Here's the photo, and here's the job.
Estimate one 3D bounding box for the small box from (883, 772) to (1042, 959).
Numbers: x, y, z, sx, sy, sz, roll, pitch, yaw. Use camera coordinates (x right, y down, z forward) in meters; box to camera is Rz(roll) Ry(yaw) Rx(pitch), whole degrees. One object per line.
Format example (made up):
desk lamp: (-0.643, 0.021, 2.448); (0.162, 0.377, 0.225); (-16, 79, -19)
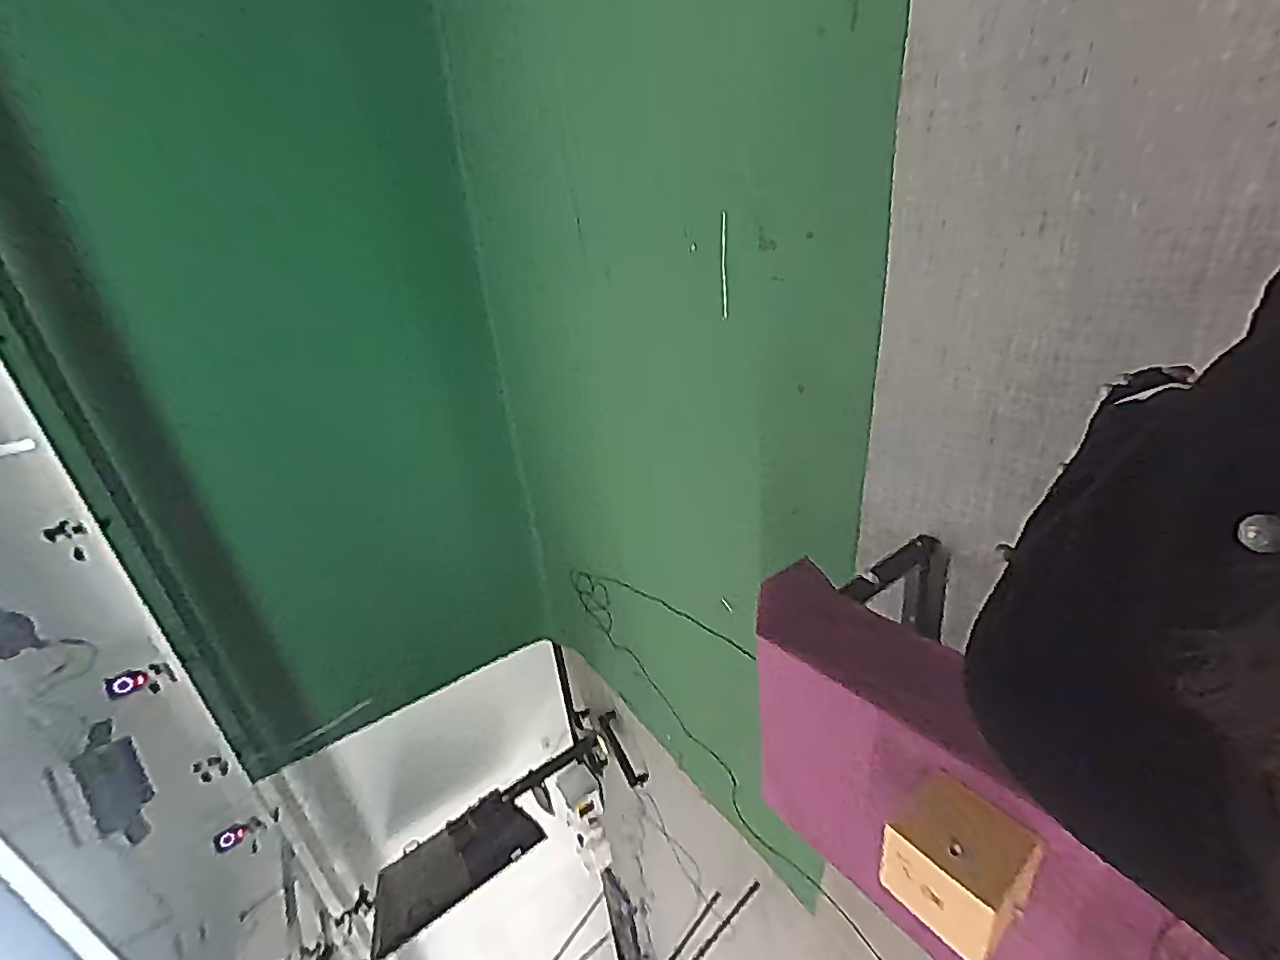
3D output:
small box: (0.552, 0.652, 0.931); (0.179, 0.176, 0.168); (26, 129, 50)
